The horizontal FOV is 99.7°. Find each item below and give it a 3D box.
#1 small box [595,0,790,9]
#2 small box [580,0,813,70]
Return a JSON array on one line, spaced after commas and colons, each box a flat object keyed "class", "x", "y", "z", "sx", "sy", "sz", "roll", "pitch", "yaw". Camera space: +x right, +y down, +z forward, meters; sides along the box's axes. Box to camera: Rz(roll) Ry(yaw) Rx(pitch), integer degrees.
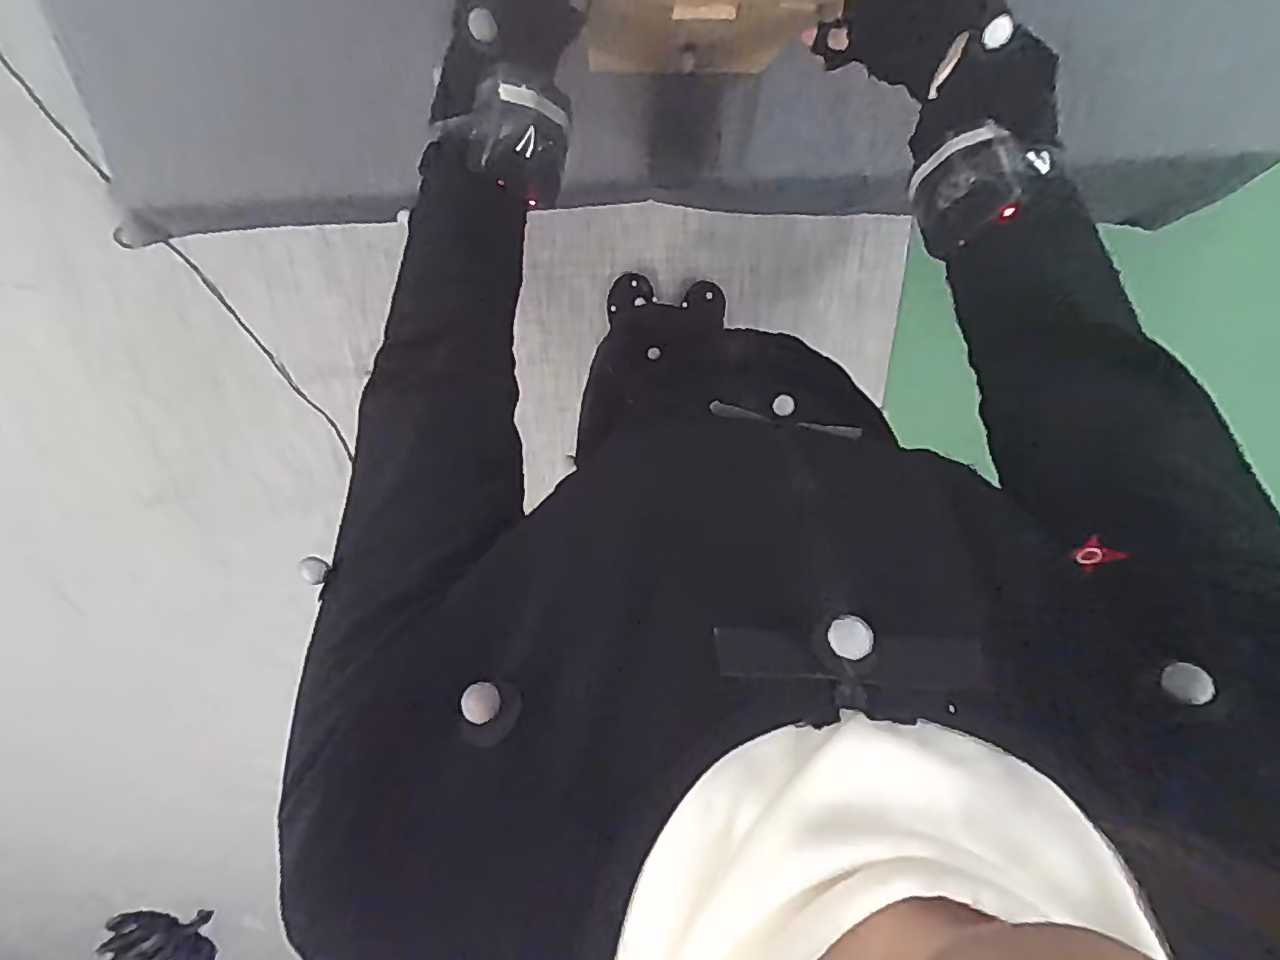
[{"class": "small box", "x": 0.050, "y": -0.366, "z": 0.265, "sx": 0.179, "sy": 0.176, "sz": 0.168, "roll": -3, "pitch": 115, "yaw": 0}, {"class": "small box", "x": 0.036, "y": -0.436, "z": 0.414, "sx": 0.168, "sy": 0.176, "sz": 0.179, "roll": -3, "pitch": 115, "yaw": -1}]
